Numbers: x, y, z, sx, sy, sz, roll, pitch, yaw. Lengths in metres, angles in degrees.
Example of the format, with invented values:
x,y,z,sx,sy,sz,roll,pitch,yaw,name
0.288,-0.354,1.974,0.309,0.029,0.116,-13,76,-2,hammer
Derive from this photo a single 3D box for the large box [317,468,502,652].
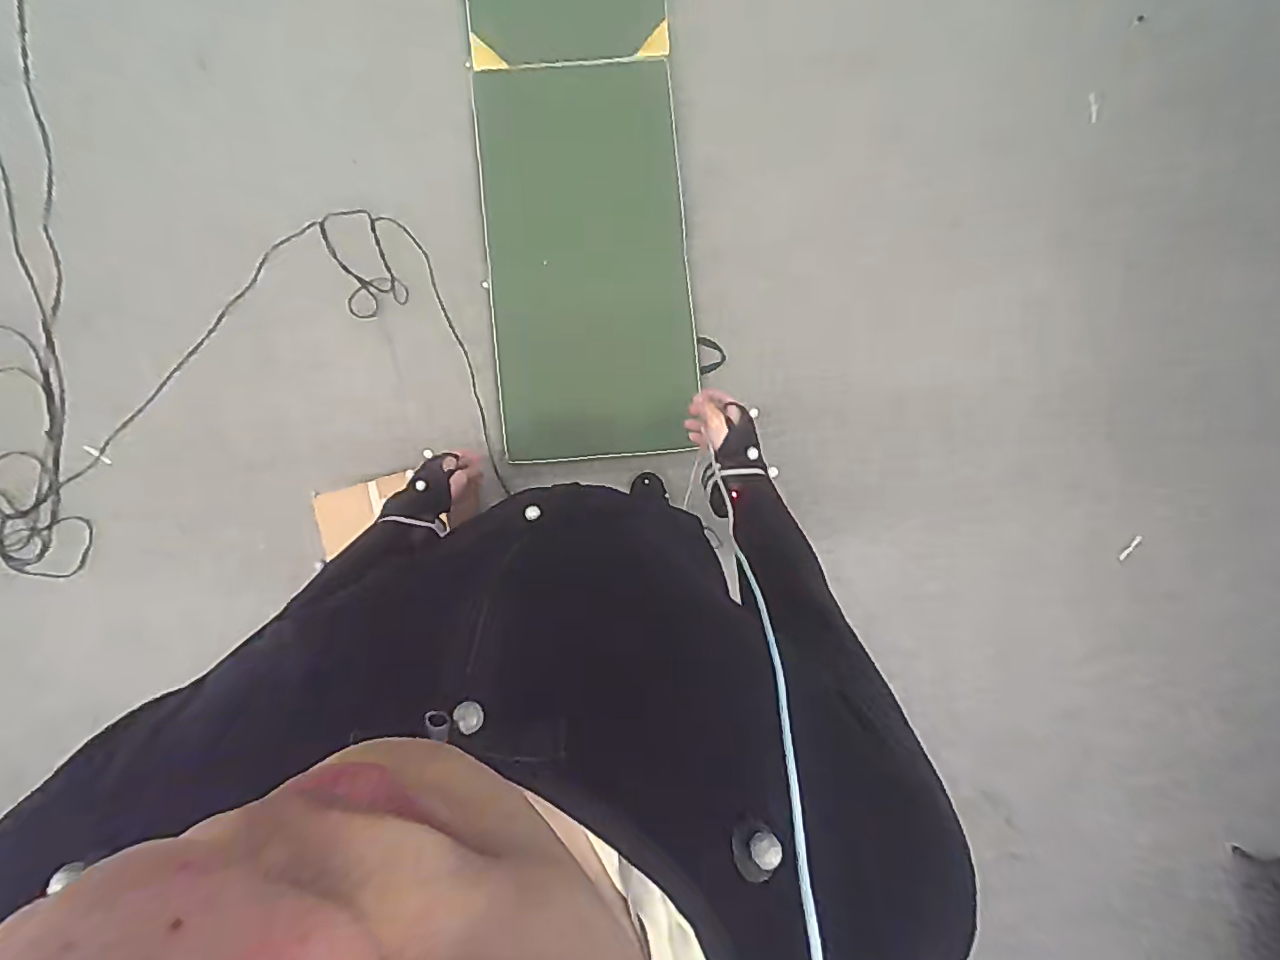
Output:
x,y,z,sx,sy,sz,roll,pitch,yaw,name
-0.610,0.204,1.492,0.320,0.320,0.408,-14,88,-1,large box
